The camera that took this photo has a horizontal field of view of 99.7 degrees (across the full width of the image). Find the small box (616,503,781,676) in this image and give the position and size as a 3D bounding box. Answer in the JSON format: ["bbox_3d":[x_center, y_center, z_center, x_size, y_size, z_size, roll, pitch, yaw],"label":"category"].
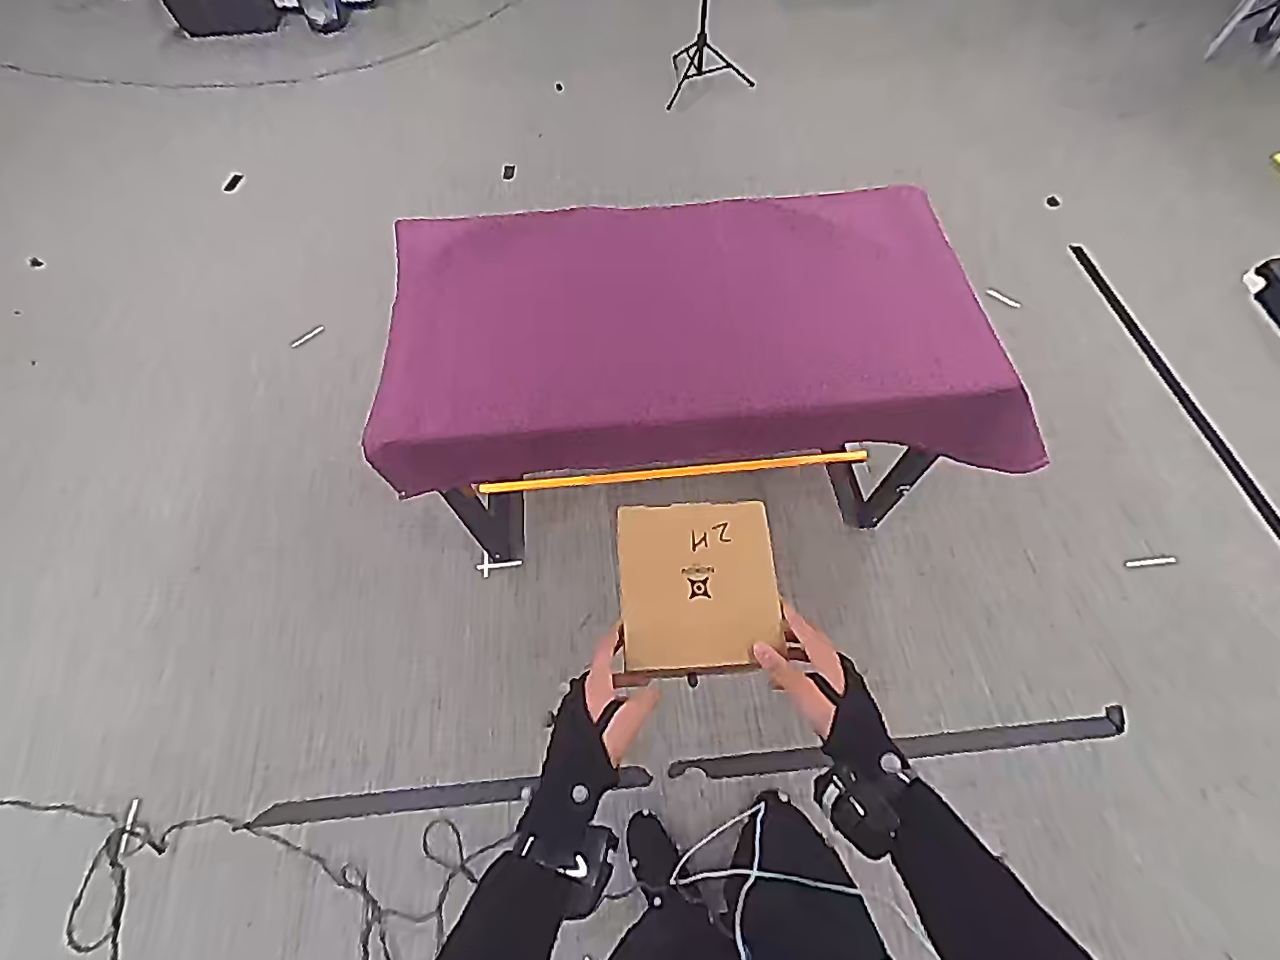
[{"bbox_3d":[0.057,0.138,0.646,0.168,0.176,0.179,-2,67,-3],"label":"small box"}]
